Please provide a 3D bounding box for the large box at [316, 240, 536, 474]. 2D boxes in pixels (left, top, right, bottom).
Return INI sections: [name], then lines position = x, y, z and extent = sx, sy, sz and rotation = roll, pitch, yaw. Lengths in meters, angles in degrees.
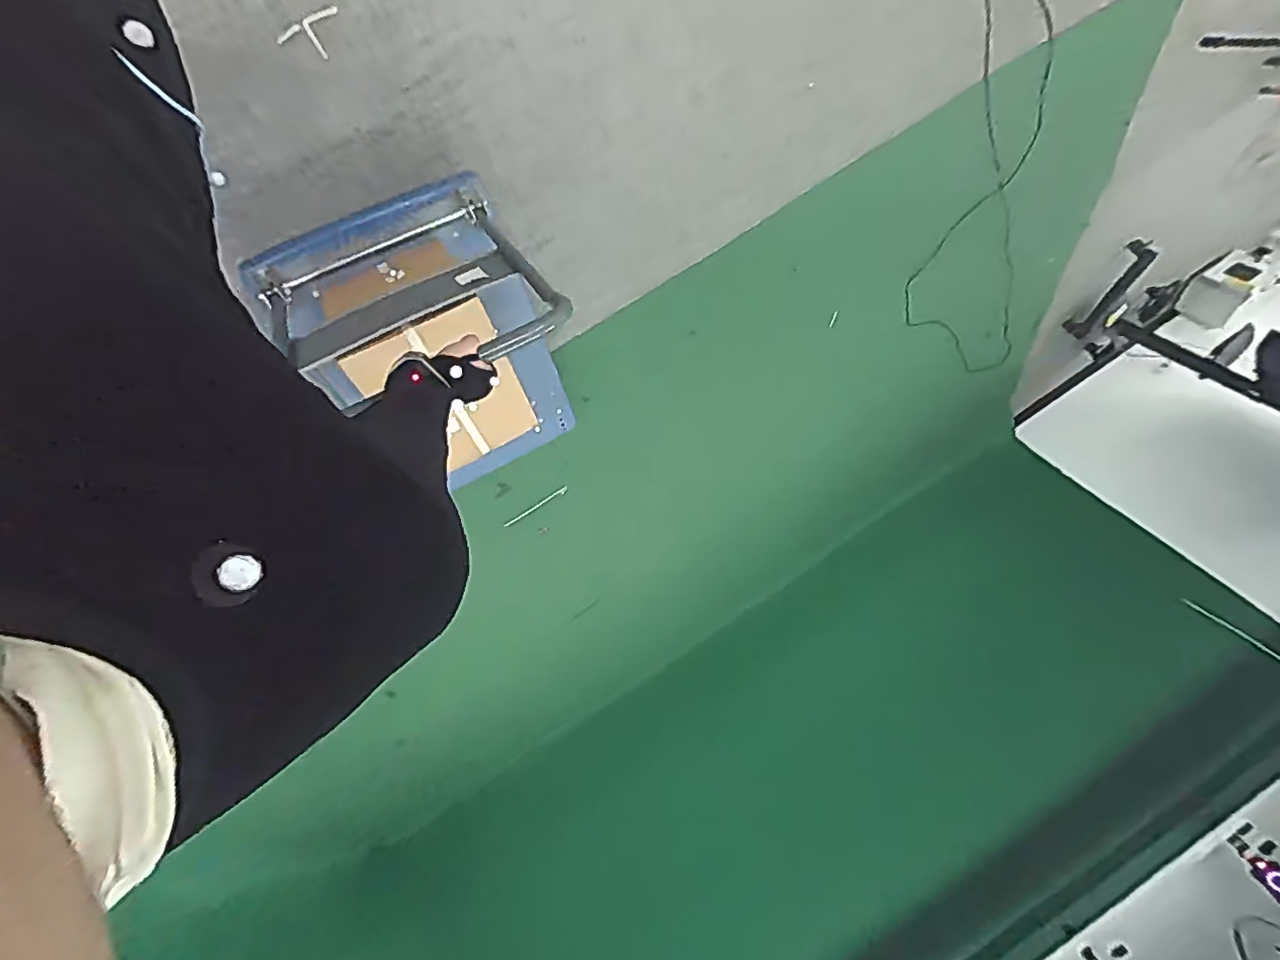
[large box]
position = -0.514, -0.297, 1.339
extent = 0.320, 0.320, 0.408
rotation = -29, 144, -10
